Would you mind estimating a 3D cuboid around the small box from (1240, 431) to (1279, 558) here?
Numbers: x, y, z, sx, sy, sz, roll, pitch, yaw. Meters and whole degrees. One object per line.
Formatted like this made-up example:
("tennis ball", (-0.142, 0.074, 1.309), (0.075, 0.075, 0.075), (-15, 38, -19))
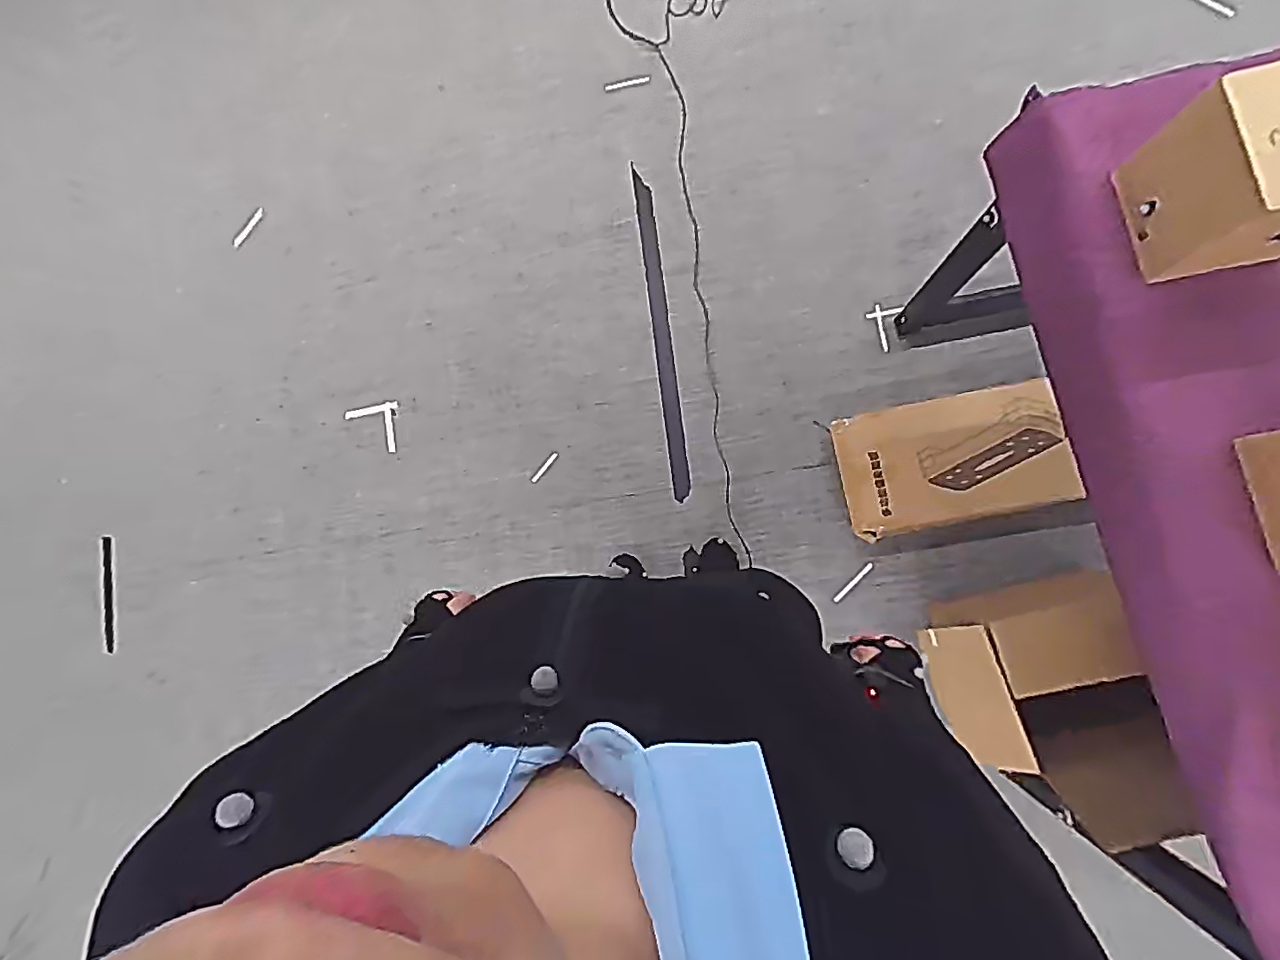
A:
("small box", (0.842, 0.012, 0.590), (0.168, 0.176, 0.179), (-11, 82, 3))
